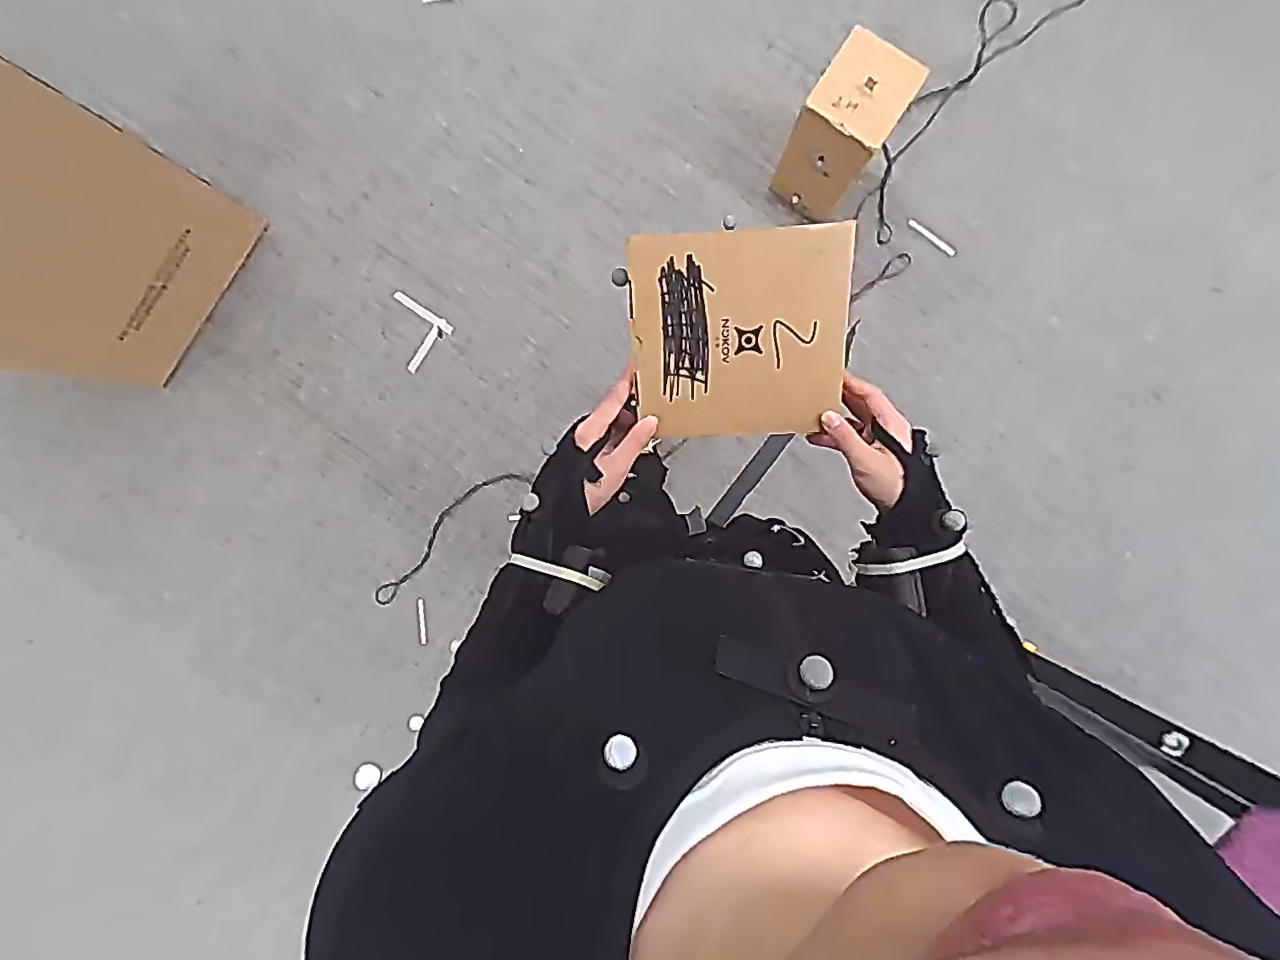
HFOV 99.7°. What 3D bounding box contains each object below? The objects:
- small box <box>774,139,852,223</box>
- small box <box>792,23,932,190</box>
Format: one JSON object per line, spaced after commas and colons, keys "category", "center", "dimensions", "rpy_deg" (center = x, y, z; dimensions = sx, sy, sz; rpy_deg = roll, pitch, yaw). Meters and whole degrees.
{"category": "small box", "center": [0.432, -0.738, 1.244], "dimensions": [0.168, 0.176, 0.179], "rpy_deg": [36, 94, 0]}
{"category": "small box", "center": [0.428, -0.730, 1.079], "dimensions": [0.168, 0.176, 0.179], "rpy_deg": [34, 93, 1]}
